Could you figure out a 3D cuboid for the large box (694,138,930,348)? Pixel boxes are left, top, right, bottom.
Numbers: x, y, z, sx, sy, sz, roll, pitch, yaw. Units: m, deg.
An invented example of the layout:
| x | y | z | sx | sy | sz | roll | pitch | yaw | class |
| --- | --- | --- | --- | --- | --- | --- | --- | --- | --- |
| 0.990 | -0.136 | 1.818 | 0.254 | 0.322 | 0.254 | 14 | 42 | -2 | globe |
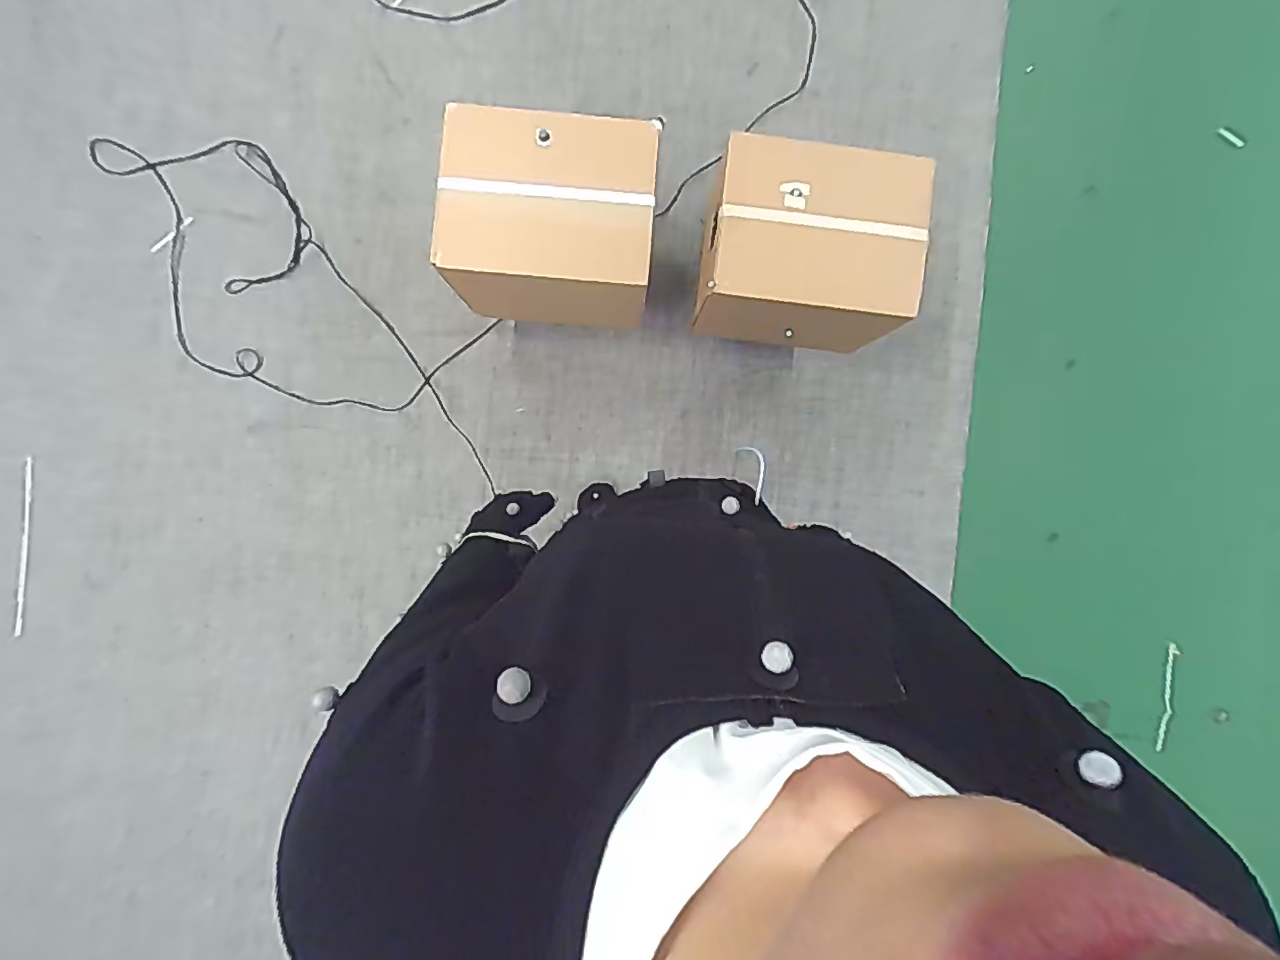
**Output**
| x | y | z | sx | sy | sz | roll | pitch | yaw | class |
| --- | --- | --- | --- | --- | --- | --- | --- | --- | --- |
| 0.352 | -0.493 | 1.199 | 0.408 | 0.320 | 0.320 | 7 | 90 | -1 | large box |
